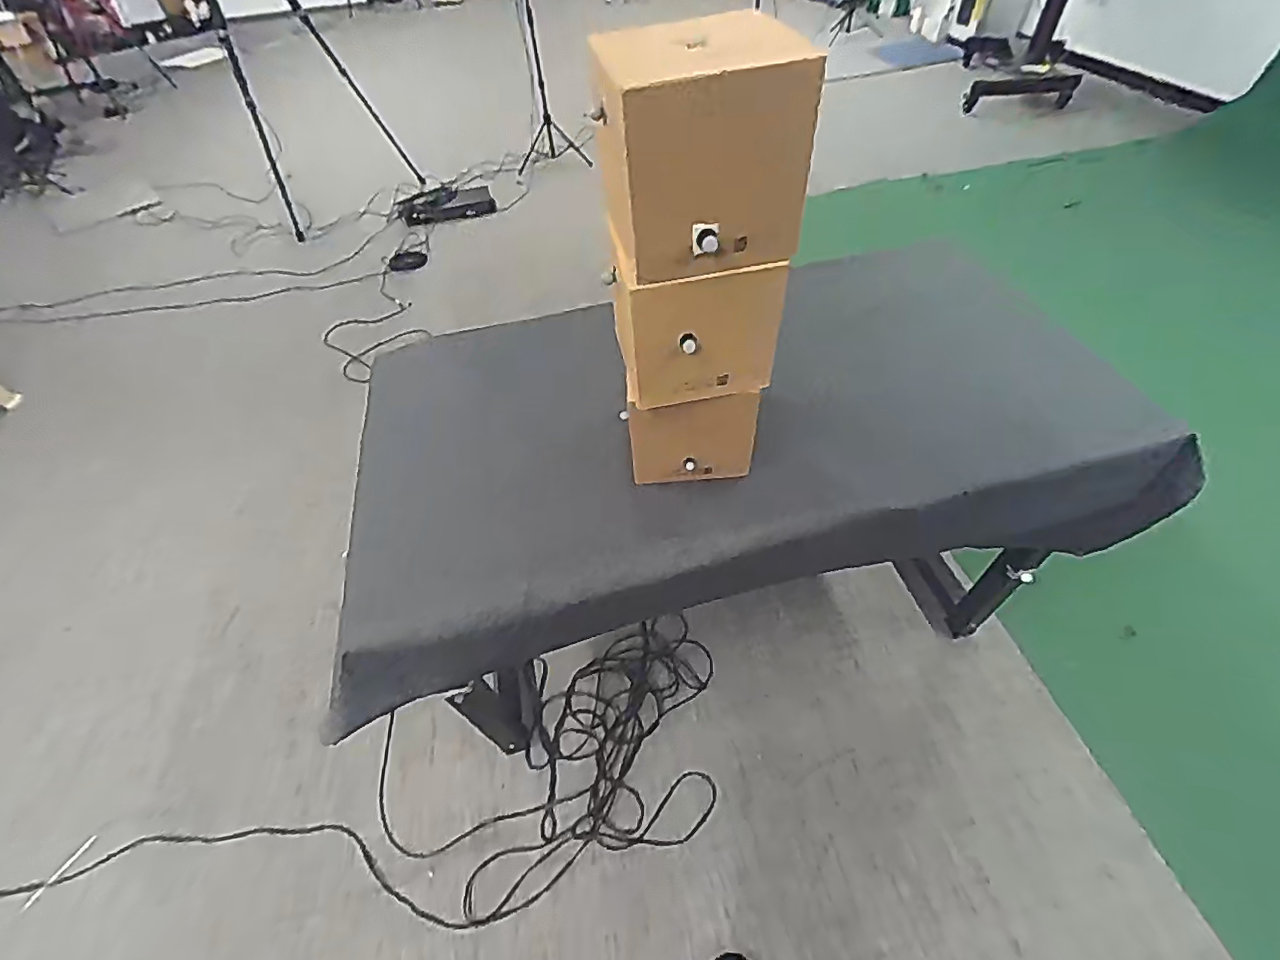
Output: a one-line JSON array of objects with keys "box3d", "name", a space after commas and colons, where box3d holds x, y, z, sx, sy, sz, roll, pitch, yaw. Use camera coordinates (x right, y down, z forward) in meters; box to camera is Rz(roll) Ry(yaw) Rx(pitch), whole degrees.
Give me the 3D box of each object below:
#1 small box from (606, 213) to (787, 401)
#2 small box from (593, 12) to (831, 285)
[{"box3d": [0.061, -0.211, 0.646, 0.168, 0.176, 0.179, -11, 51, -4], "name": "small box"}, {"box3d": [0.057, -0.317, 0.522, 0.168, 0.176, 0.179, -13, 52, -4], "name": "small box"}]
